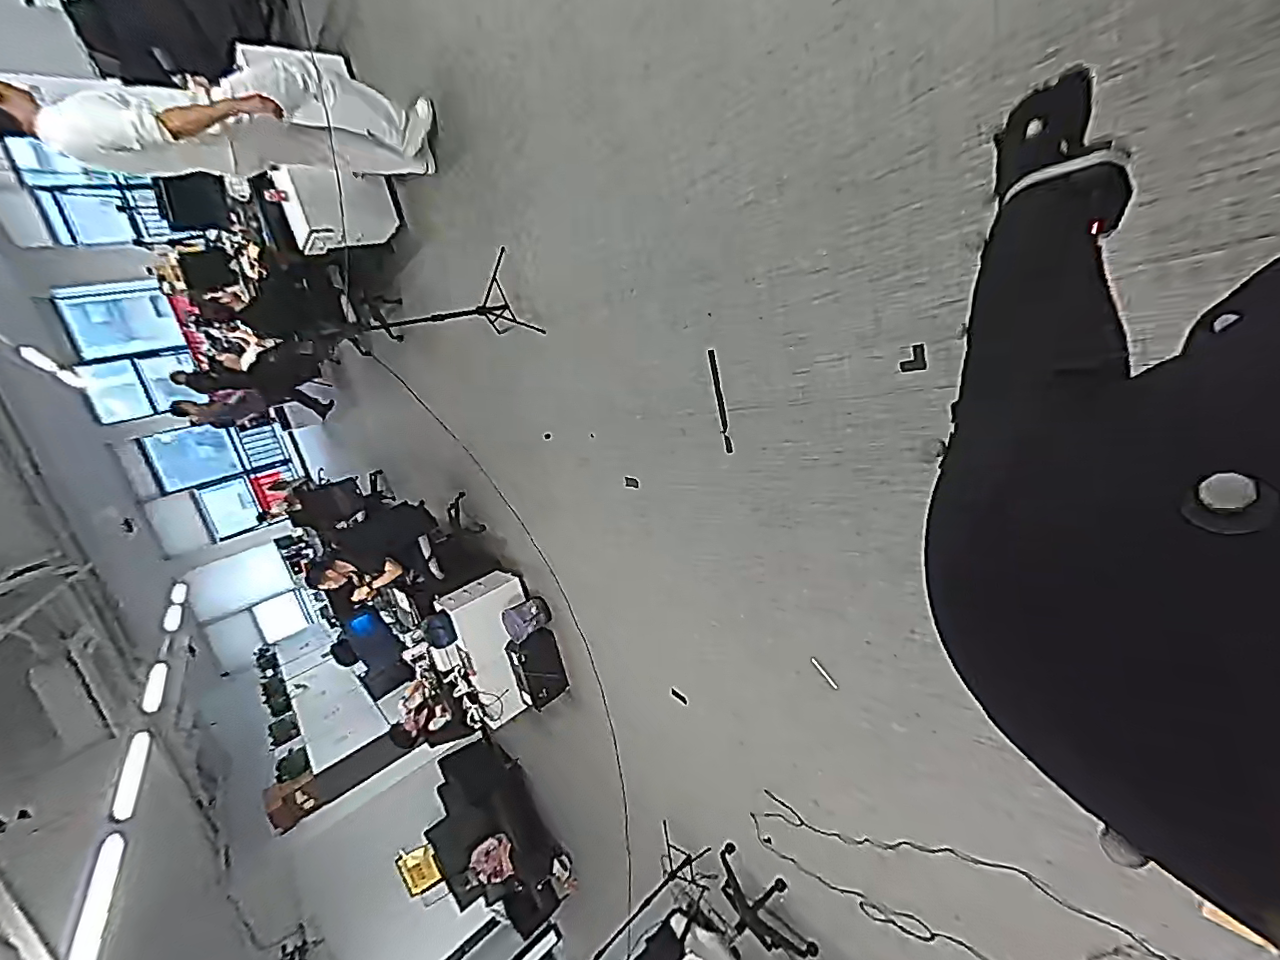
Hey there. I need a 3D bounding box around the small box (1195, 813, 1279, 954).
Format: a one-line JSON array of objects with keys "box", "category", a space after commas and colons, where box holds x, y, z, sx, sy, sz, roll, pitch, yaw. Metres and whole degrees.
[{"box": [1.391, 0.906, 1.216, 0.168, 0.176, 0.179, 13, 121, 49], "category": "small box"}]
